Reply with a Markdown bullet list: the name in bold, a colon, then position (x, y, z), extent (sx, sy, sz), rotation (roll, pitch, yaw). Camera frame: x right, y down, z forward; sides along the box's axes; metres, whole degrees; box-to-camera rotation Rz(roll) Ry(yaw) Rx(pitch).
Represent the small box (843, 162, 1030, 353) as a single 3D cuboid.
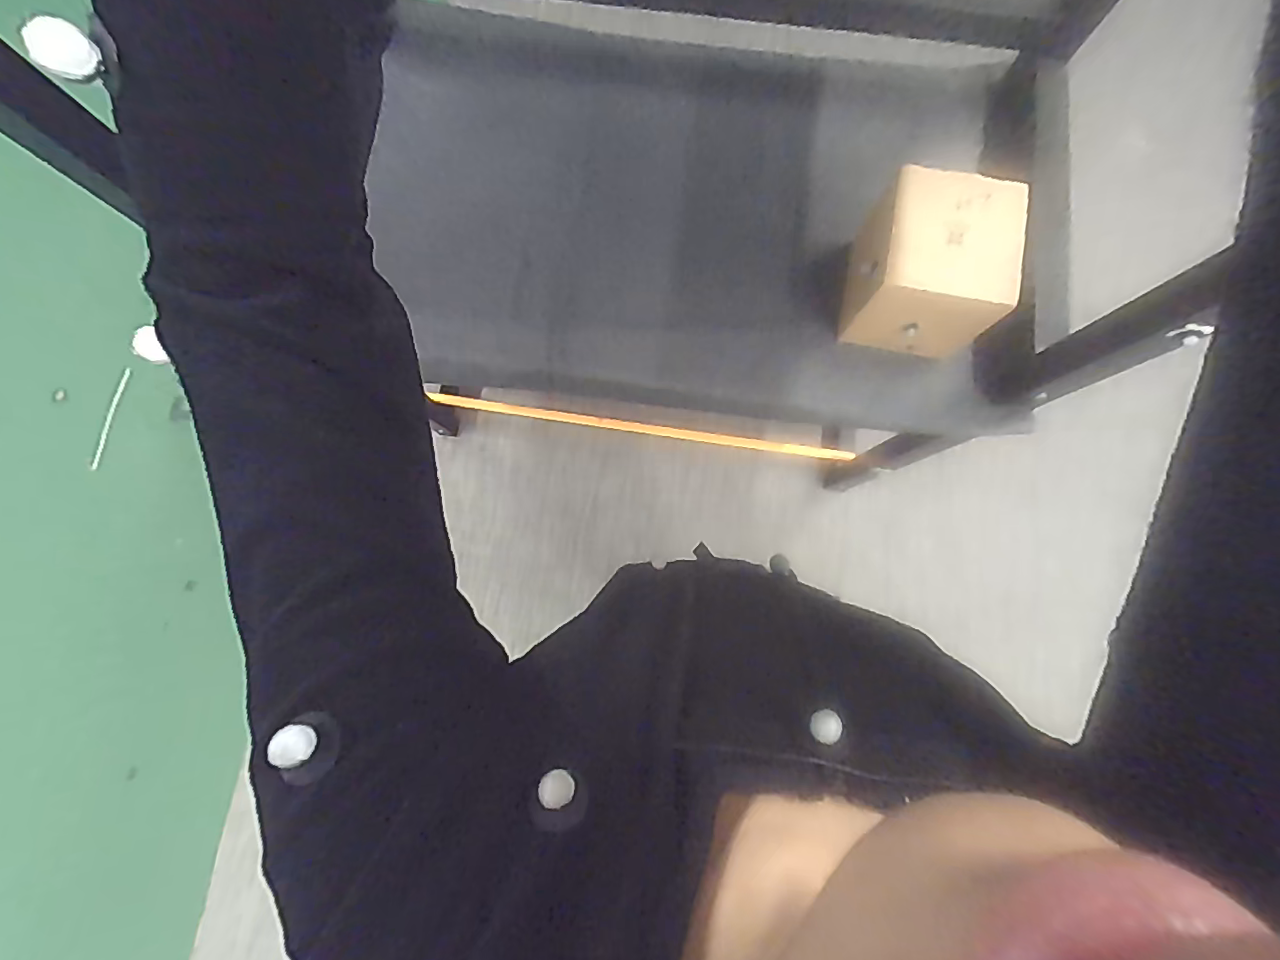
- **small box**: position (0.401, -0.299, 0.760), extent (0.168, 0.176, 0.179), rotation (12, 80, 2)
